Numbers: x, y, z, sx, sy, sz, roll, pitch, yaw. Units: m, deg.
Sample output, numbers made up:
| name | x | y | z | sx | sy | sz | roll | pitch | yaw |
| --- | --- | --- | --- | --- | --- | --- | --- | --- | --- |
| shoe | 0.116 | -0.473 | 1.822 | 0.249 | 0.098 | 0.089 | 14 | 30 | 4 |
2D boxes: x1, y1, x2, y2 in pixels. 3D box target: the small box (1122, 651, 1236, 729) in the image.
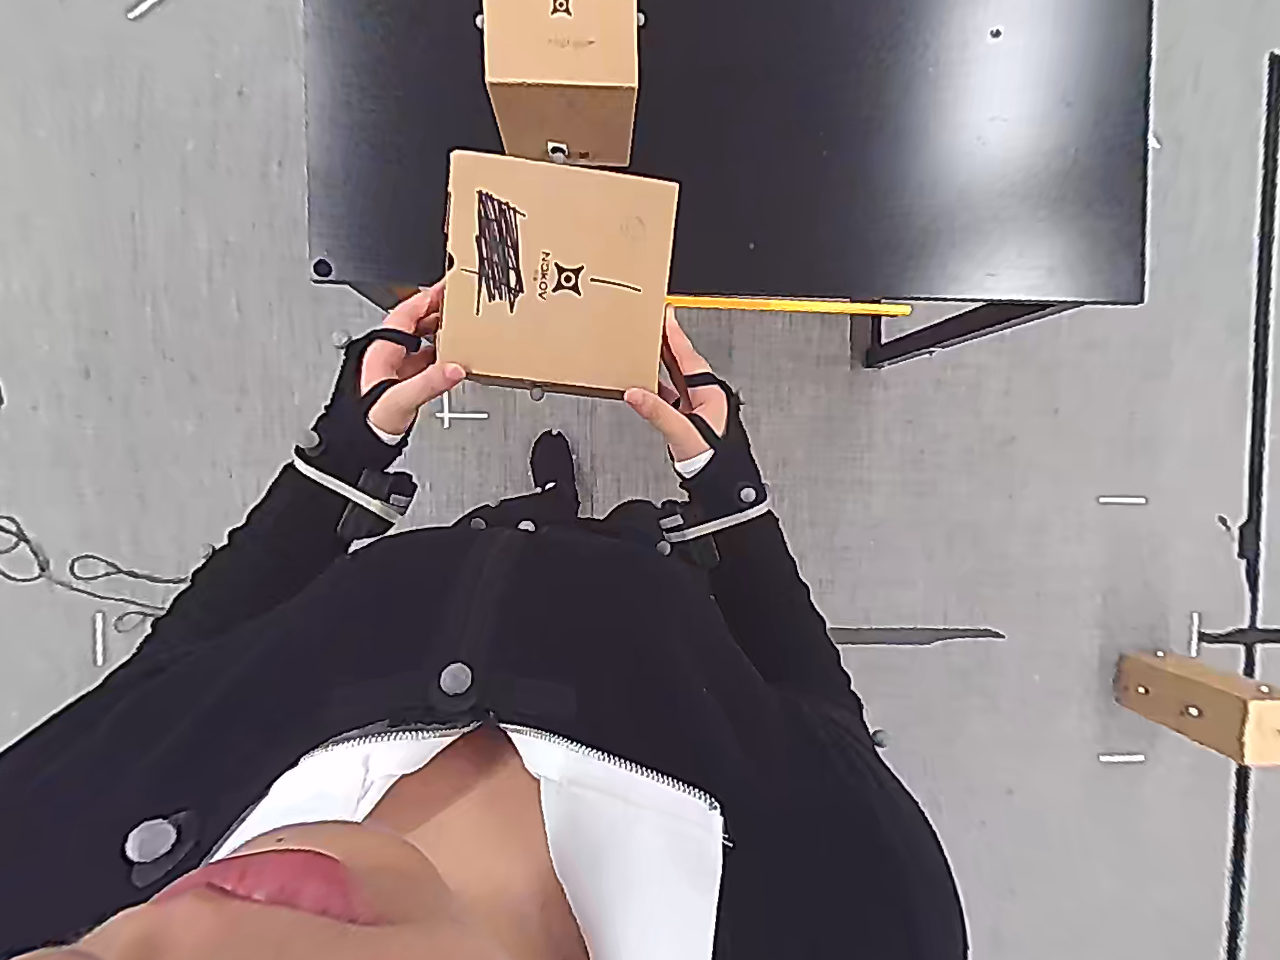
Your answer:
| name | x | y | z | sx | sy | sz | roll | pitch | yaw |
| --- | --- | --- | --- | --- | --- | --- | --- | --- | --- |
| small box | 1.562 | 0.607 | 1.577 | 0.179 | 0.176 | 0.168 | 0 | 93 | -4 |

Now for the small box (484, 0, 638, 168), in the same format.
| name | x | y | z | sx | sy | sz | roll | pitch | yaw |
| --- | --- | --- | --- | --- | --- | --- | --- | --- | --- |
| small box | -0.092 | -0.514 | 0.660 | 0.168 | 0.176 | 0.179 | -2 | 93 | -4 |

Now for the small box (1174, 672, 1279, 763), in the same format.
| name | x | y | z | sx | sy | sz | roll | pitch | yaw |
| --- | --- | --- | --- | --- | --- | --- | --- | --- | --- |
| small box | 1.568 | 0.612 | 1.411 | 0.179 | 0.176 | 0.168 | 2 | 92 | -4 |

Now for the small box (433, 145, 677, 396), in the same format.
| name | x | y | z | sx | sy | sz | roll | pitch | yaw |
| --- | --- | --- | --- | --- | --- | --- | --- | --- | --- |
| small box | -0.072 | -0.172 | 0.501 | 0.179 | 0.176 | 0.168 | 6 | 95 | -5 |
